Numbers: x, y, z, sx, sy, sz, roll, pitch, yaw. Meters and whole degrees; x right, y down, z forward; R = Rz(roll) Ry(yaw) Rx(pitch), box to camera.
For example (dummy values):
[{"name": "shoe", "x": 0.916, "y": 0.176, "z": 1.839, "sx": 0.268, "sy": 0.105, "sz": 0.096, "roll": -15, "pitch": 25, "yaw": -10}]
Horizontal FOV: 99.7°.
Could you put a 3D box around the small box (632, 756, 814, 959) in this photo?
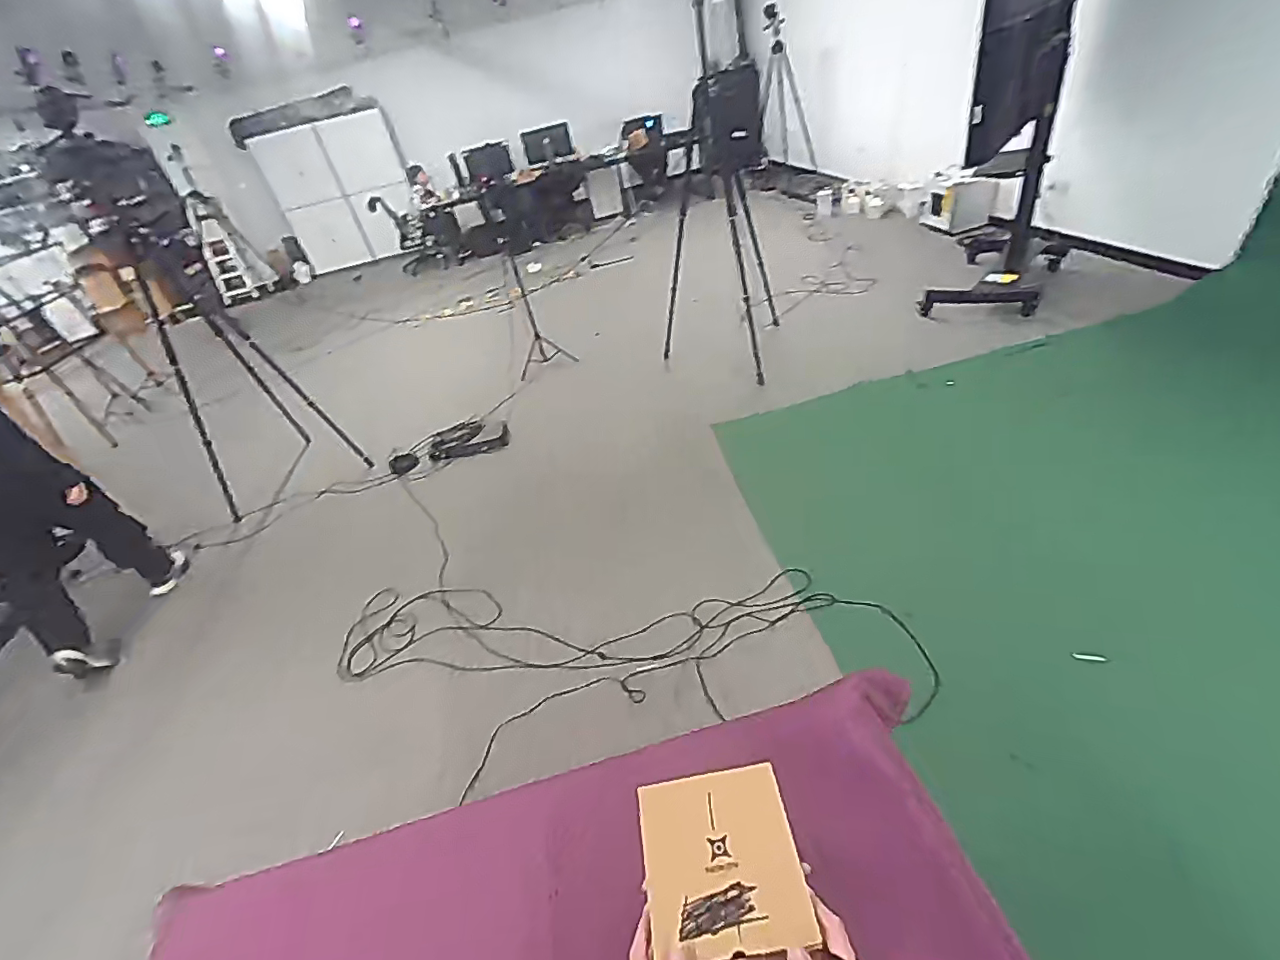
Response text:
[{"name": "small box", "x": 0.092, "y": 0.454, "z": 0.619, "sx": 0.168, "sy": 0.176, "sz": 0.179, "roll": -12, "pitch": 37, "yaw": 2}]
